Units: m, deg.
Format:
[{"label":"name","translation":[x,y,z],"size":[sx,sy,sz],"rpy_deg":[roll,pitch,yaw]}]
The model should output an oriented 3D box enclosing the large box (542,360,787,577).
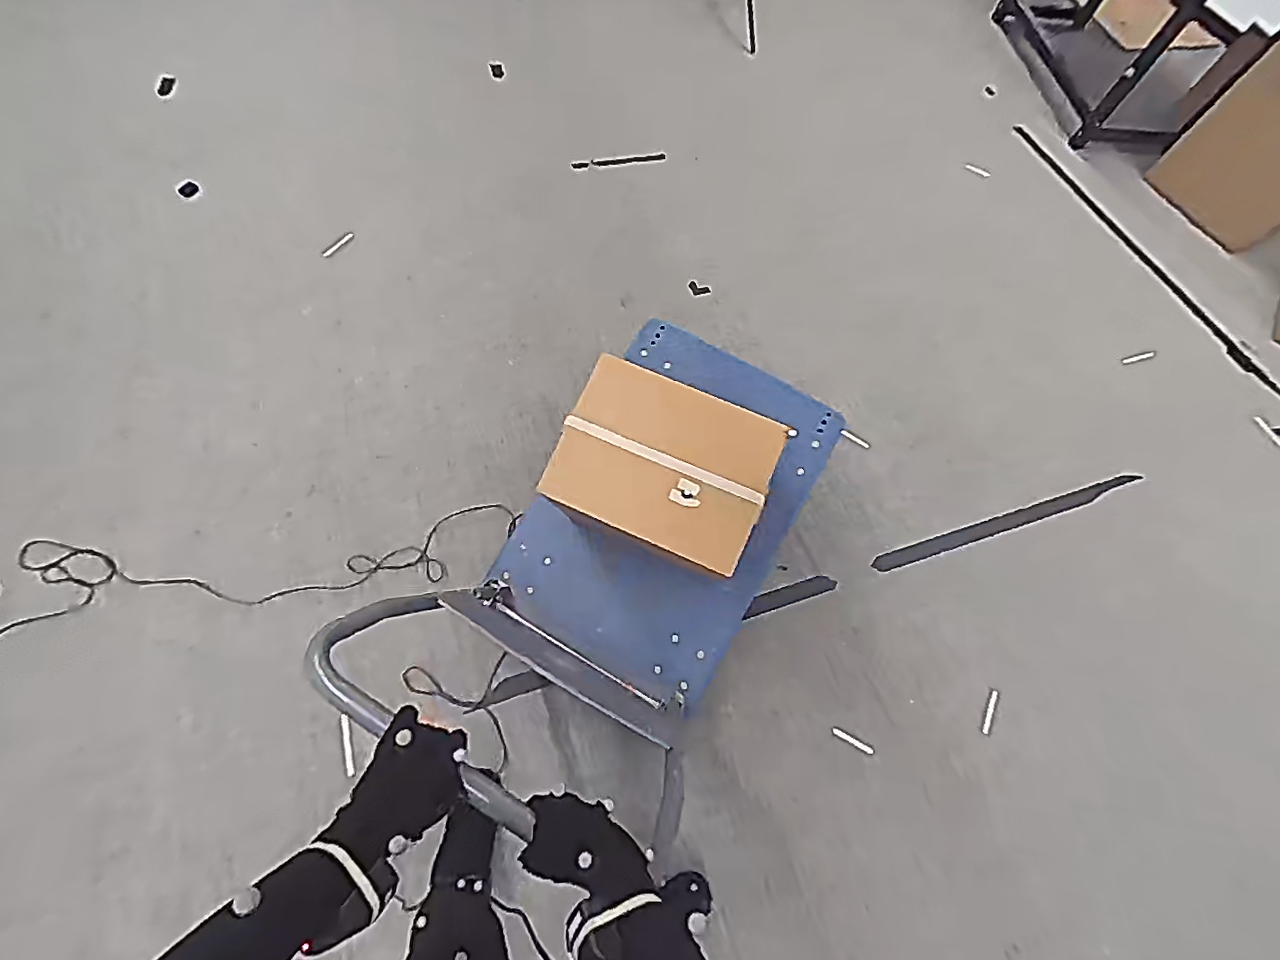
[{"label":"large box","translation":[0.051,-0.007,1.191],"size":[0.408,0.320,0.320],"rpy_deg":[22,80,6]}]
